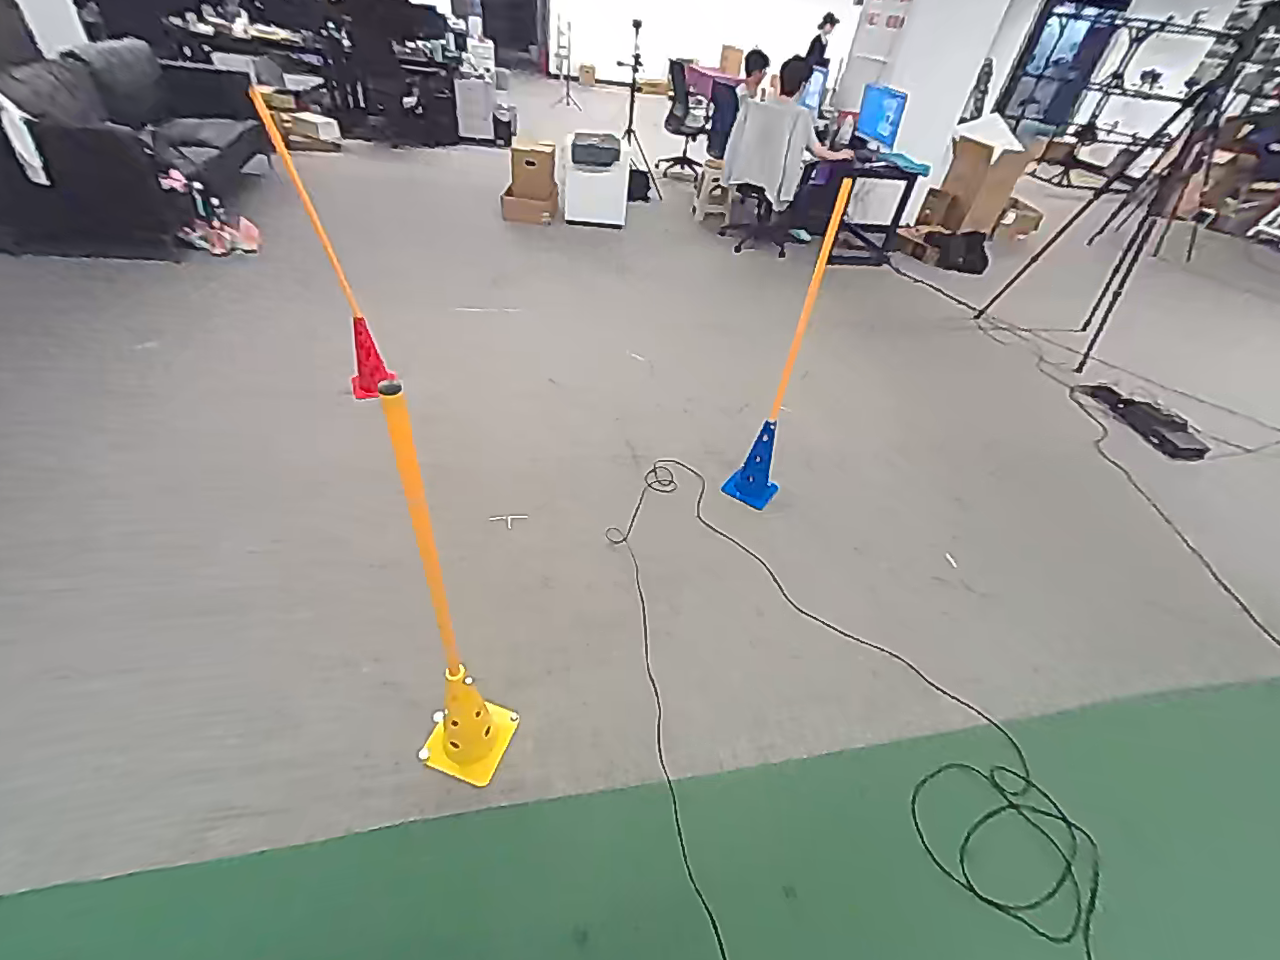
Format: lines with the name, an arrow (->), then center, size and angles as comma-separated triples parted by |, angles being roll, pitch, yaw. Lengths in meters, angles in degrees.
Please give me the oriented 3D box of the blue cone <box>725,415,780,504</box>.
blue cone -> 0.494, -0.104, 2.218 | 0.192, 0.380, 0.193 | 27, 43, 21
